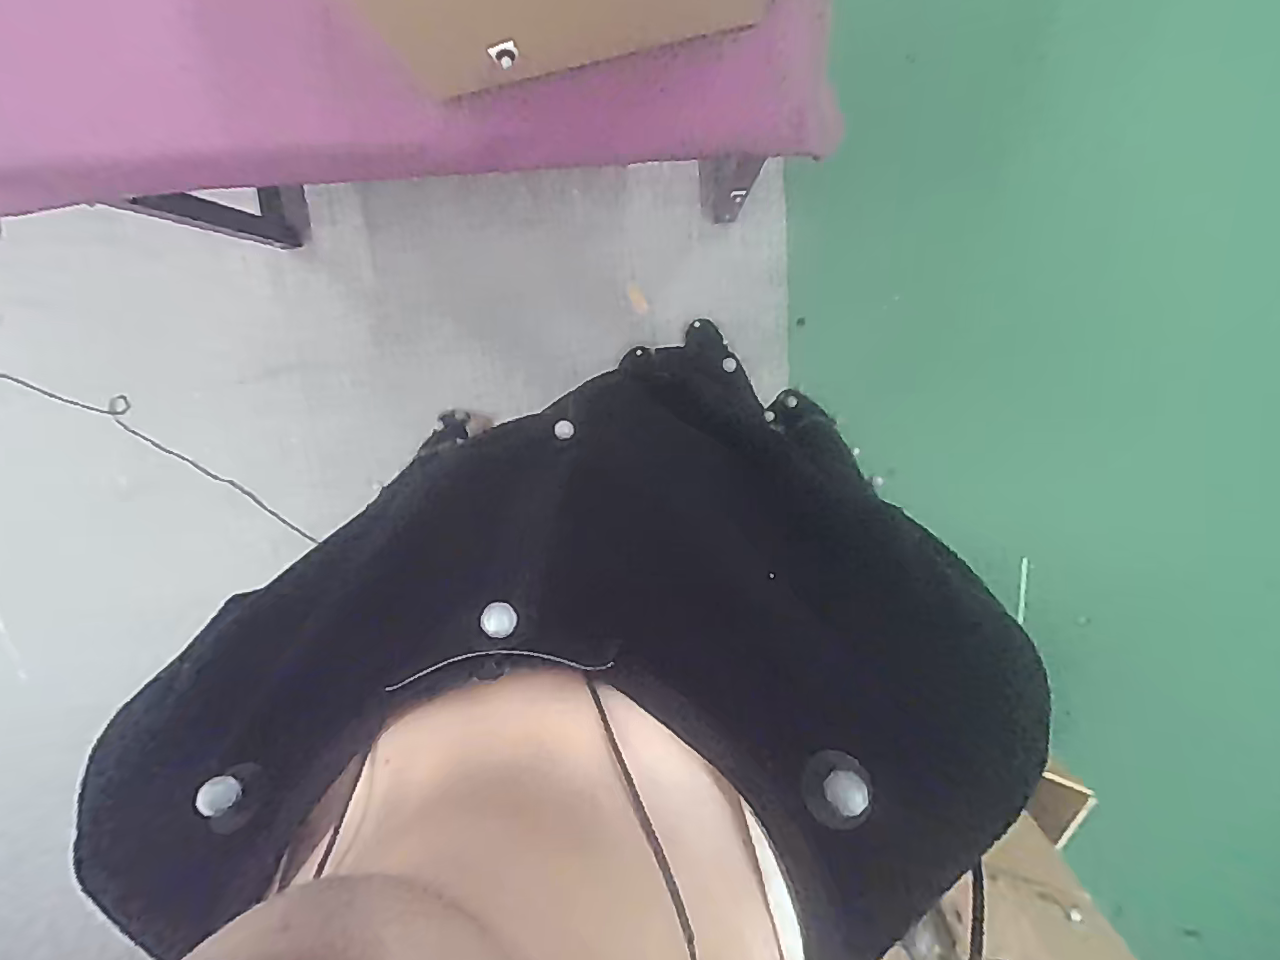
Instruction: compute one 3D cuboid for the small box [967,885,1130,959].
[{"bbox_3d":[0.632,0.767,0.811,0.168,0.176,0.179,16,103,-2],"label":"small box"}]
